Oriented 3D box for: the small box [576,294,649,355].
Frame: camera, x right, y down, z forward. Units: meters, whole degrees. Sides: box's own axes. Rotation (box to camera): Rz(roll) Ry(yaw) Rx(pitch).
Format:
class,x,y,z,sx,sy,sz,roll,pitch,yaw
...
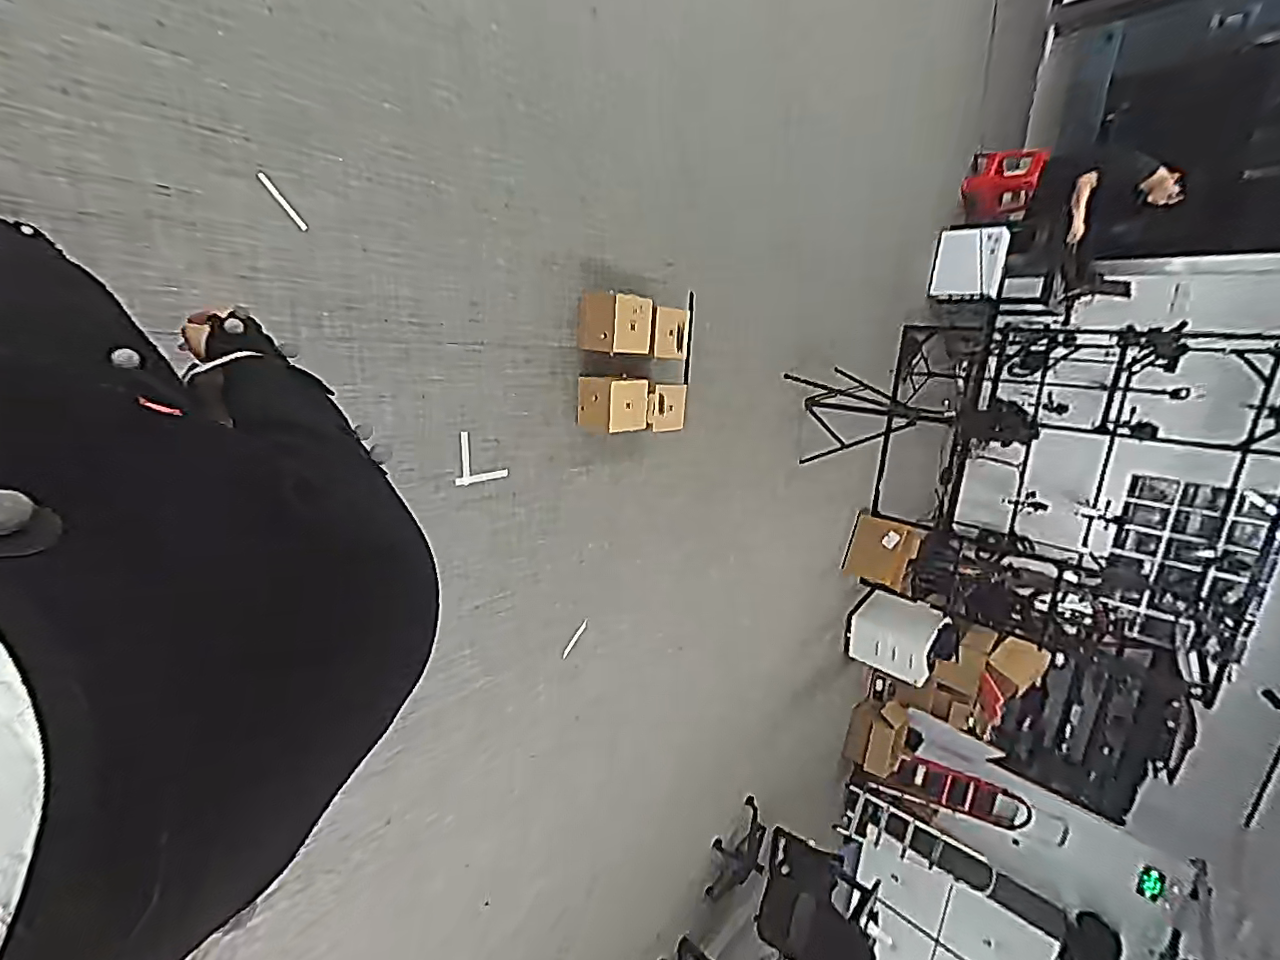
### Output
class,x,y,z,sx,sy,sz,roll,pitch,yaw
small box,-0.093,-0.502,1.746,0.168,0.176,0.179,-11,110,-46
